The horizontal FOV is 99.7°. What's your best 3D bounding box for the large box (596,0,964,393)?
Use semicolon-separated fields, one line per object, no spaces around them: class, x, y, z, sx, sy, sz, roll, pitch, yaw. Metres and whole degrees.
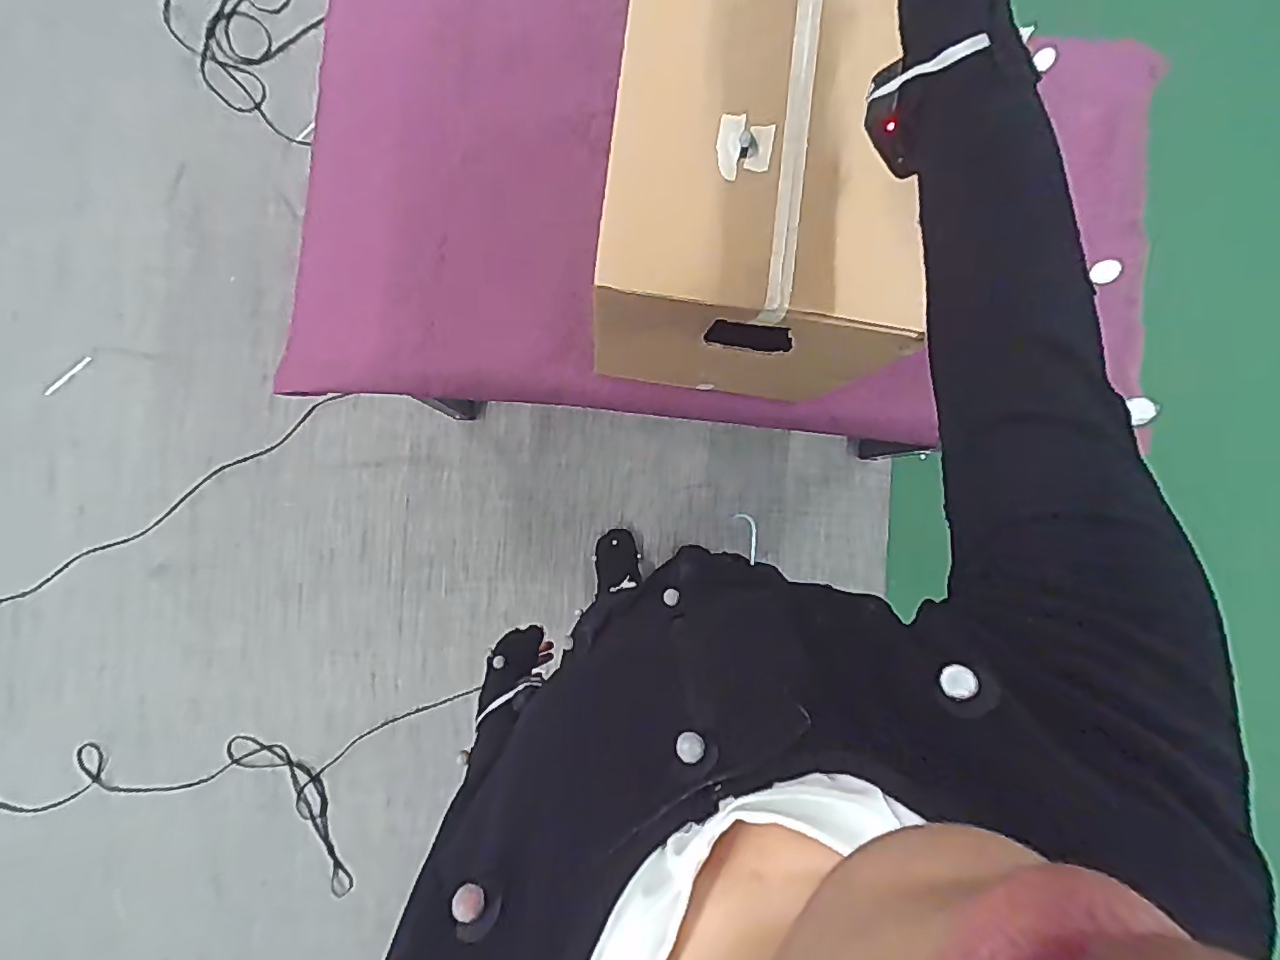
large box;0.125;-0.344;0.637;0.320;0.320;0.408;8;88;-4
